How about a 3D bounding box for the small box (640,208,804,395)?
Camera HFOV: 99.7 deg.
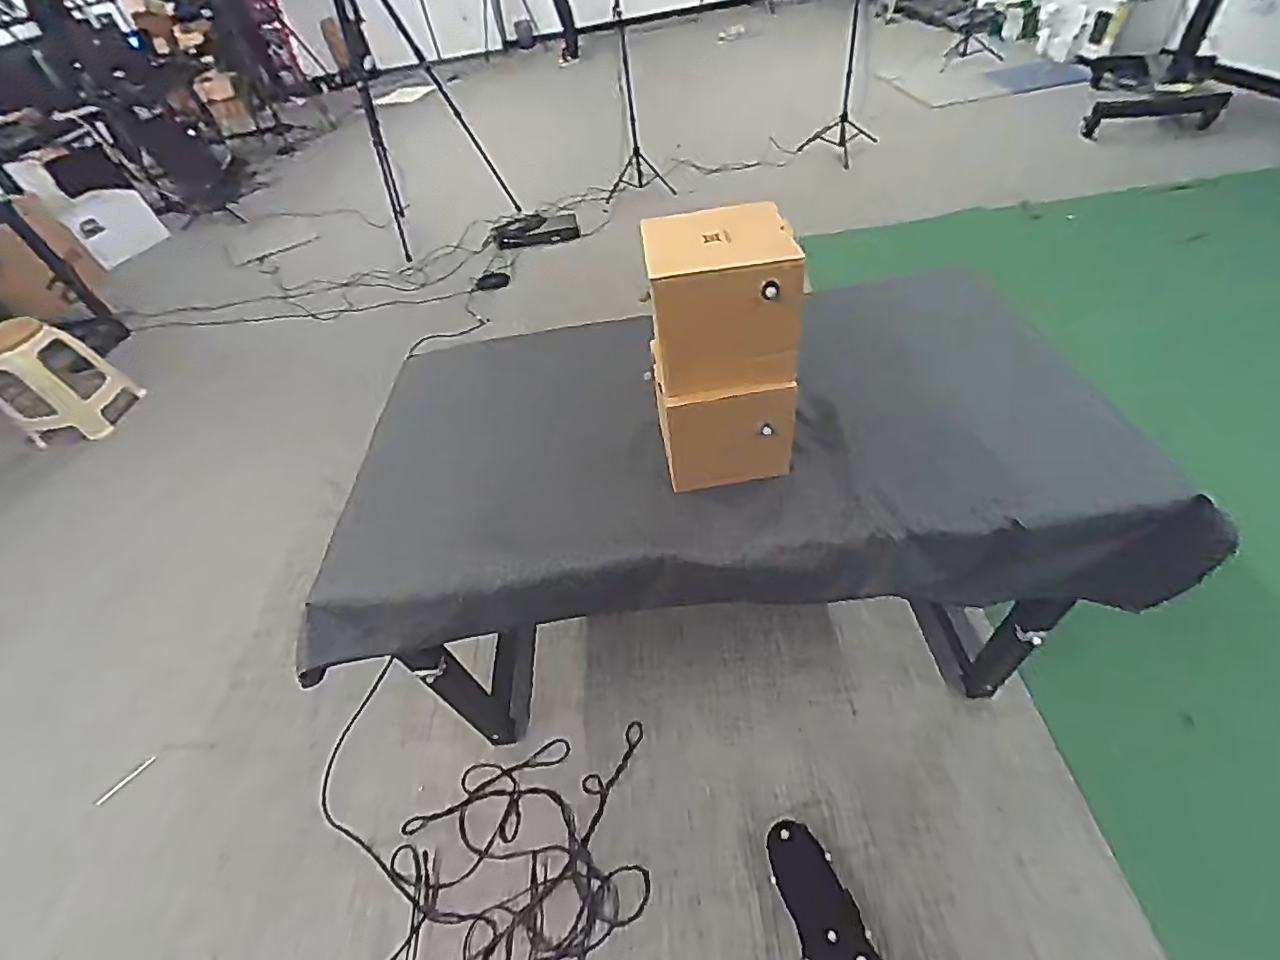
[{"bbox_3d":[0.100,-0.226,0.702,0.179,0.176,0.168,-7,46,2],"label":"small box"}]
